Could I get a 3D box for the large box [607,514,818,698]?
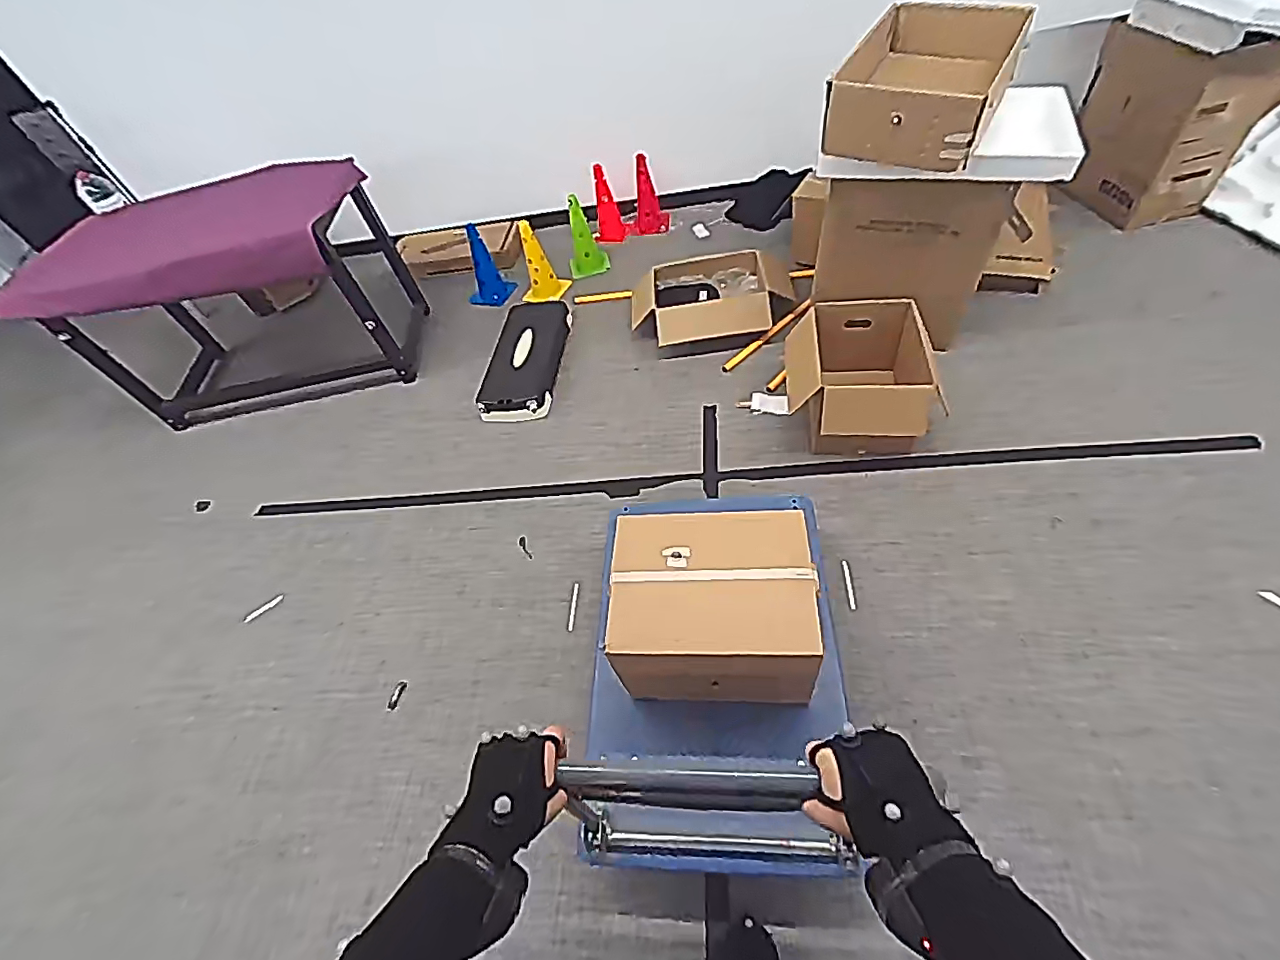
[{"bbox_3d":[0.165,0.297,1.223,0.408,0.320,0.320,-4,52,10],"label":"large box"}]
